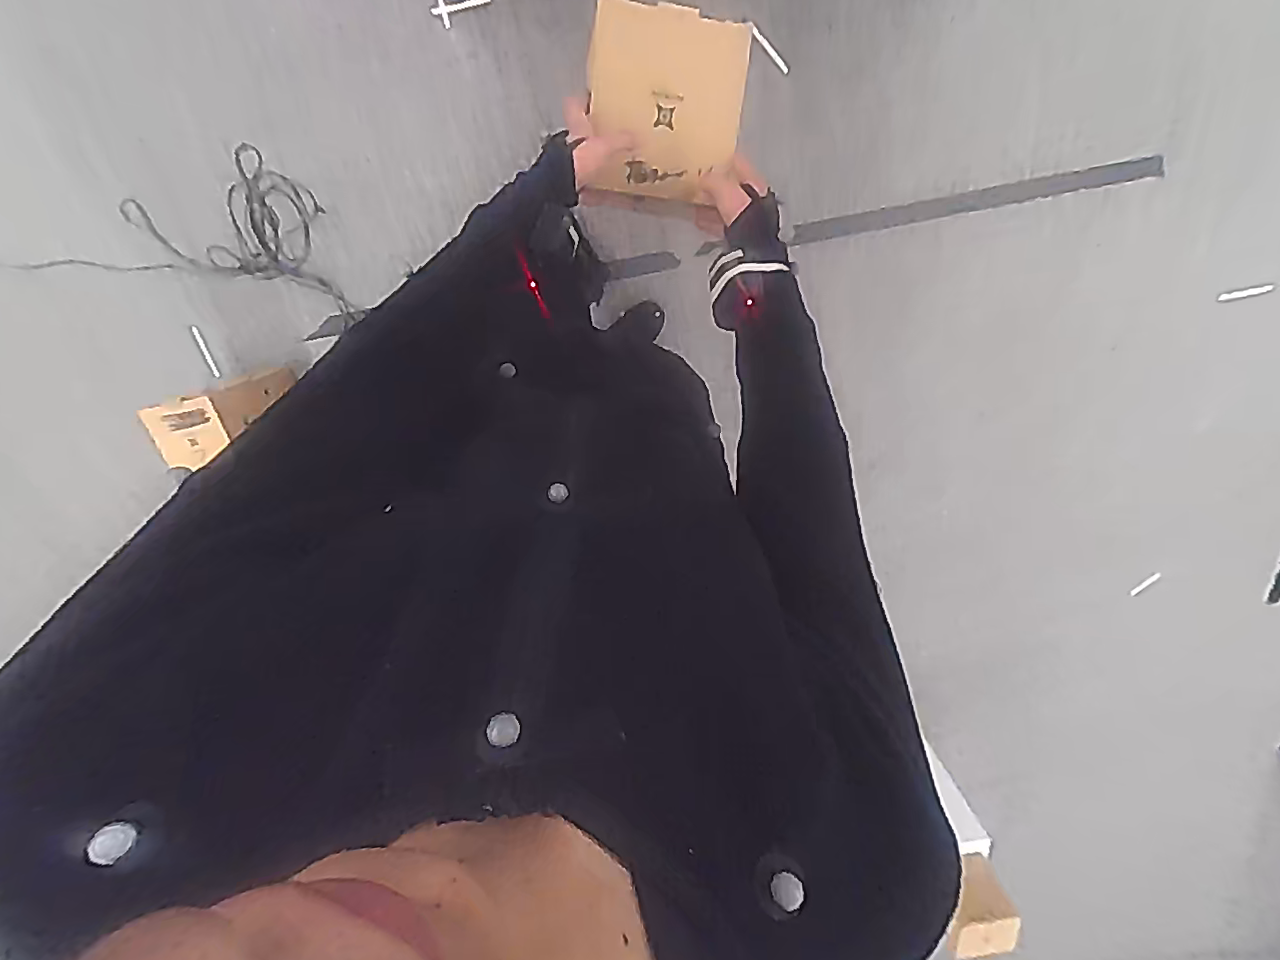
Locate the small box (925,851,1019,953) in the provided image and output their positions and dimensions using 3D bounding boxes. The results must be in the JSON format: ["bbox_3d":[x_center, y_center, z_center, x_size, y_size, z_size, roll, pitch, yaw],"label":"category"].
[{"bbox_3d":[0.944,1.209,1.553,0.168,0.176,0.179,-11,115,2],"label":"small box"}]

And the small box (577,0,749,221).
[{"bbox_3d":[0.014,-0.422,0.647,0.168,0.176,0.179,3,111,-9],"label":"small box"}]
